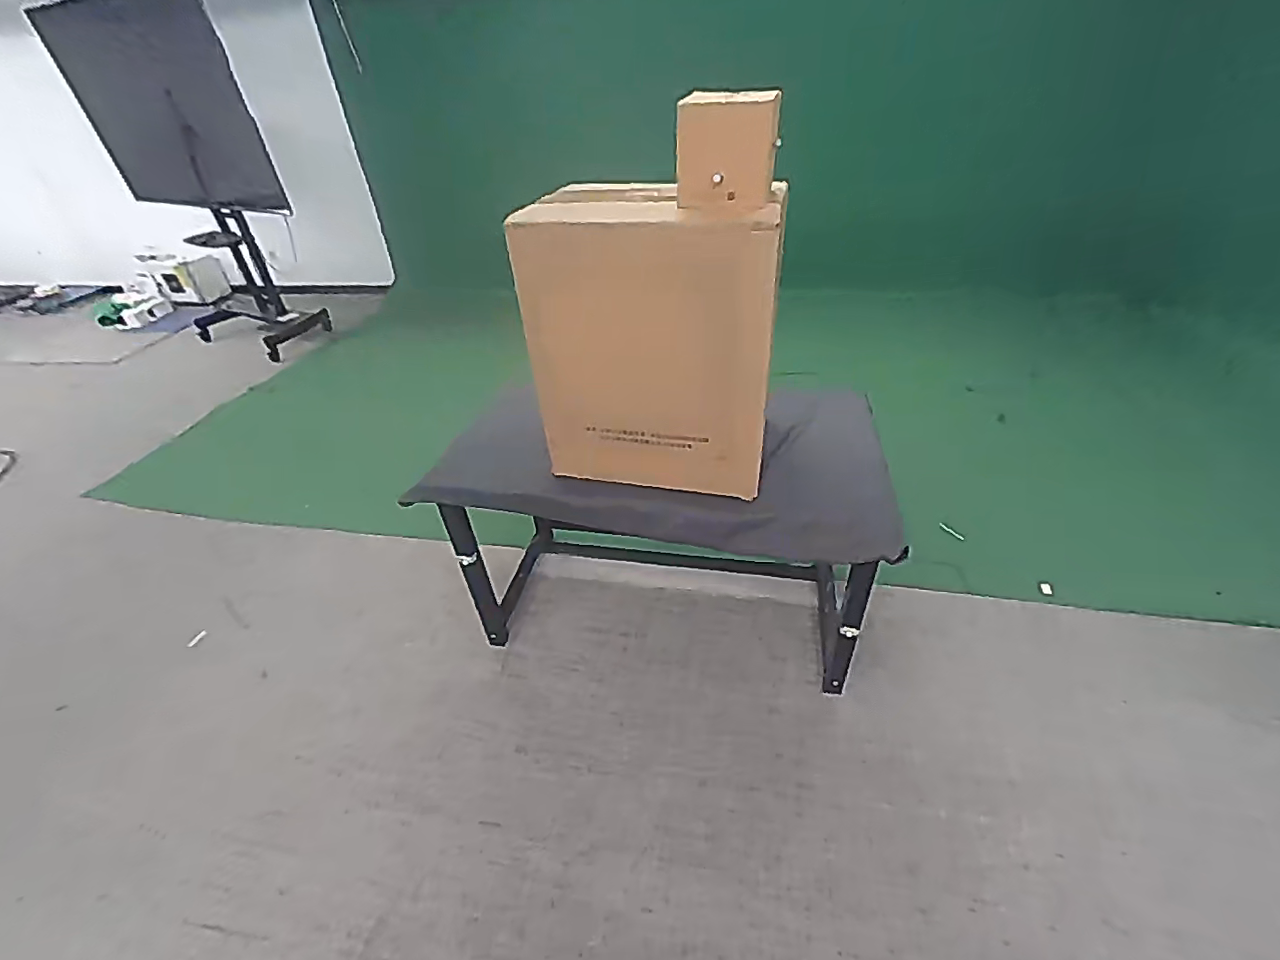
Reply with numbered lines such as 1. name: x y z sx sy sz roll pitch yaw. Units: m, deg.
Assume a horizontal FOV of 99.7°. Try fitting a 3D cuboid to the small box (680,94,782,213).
1. small box: 0.170 -0.622 1.025 0.168 0.176 0.179 8 42 13
